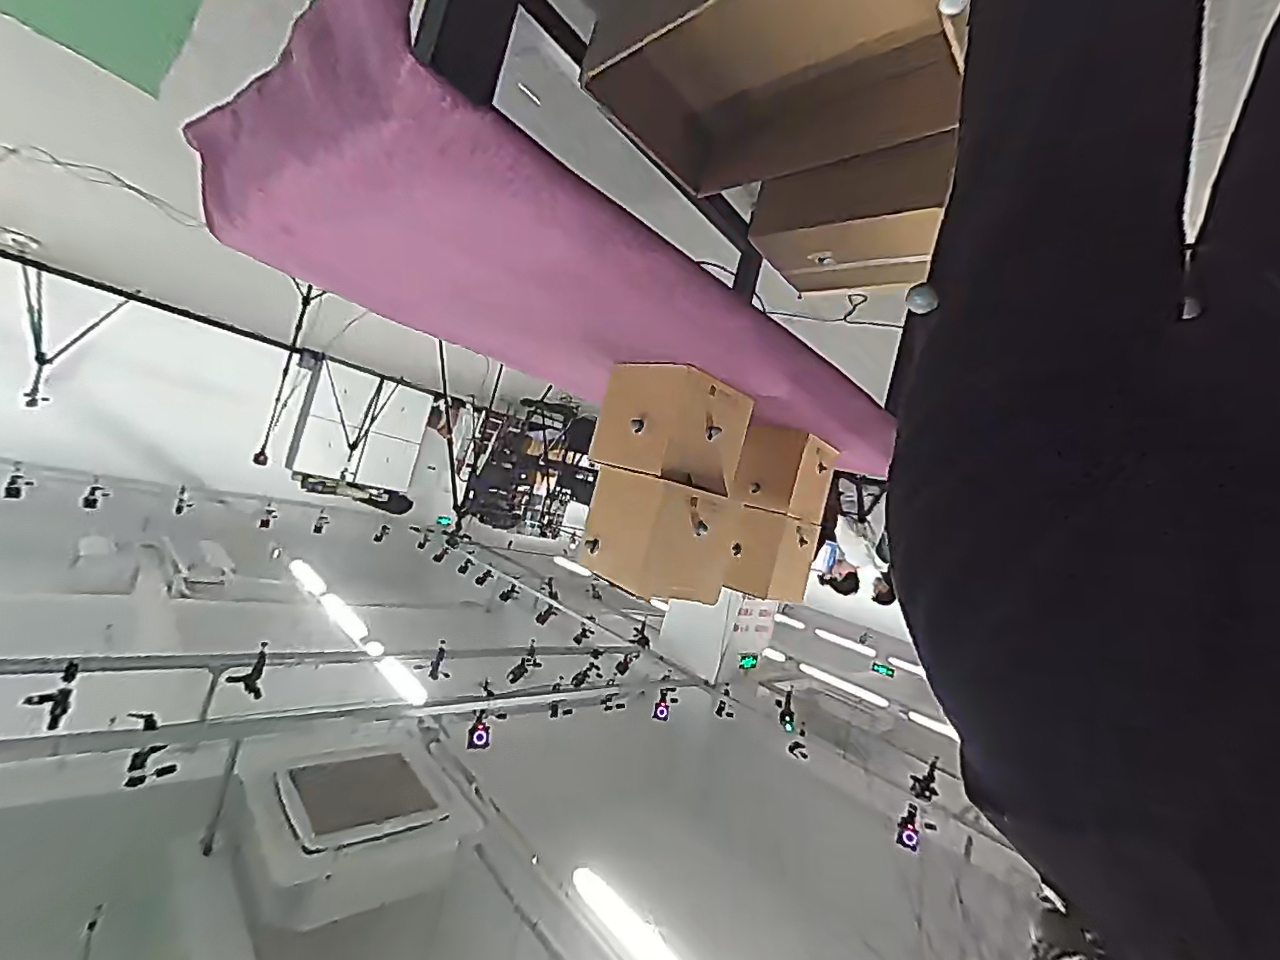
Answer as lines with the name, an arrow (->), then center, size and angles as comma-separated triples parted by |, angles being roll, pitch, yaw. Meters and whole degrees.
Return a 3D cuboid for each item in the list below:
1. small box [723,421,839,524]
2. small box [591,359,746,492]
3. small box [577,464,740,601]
small box -> 0.286, -0.019, 1.122 | 0.179, 0.176, 0.168 | 12, 176, 42
small box -> 0.051, -0.089, 0.864 | 0.168, 0.176, 0.179 | 17, 177, -43
small box -> 0.030, 0.076, 0.847 | 0.168, 0.176, 0.179 | 15, 178, -36
